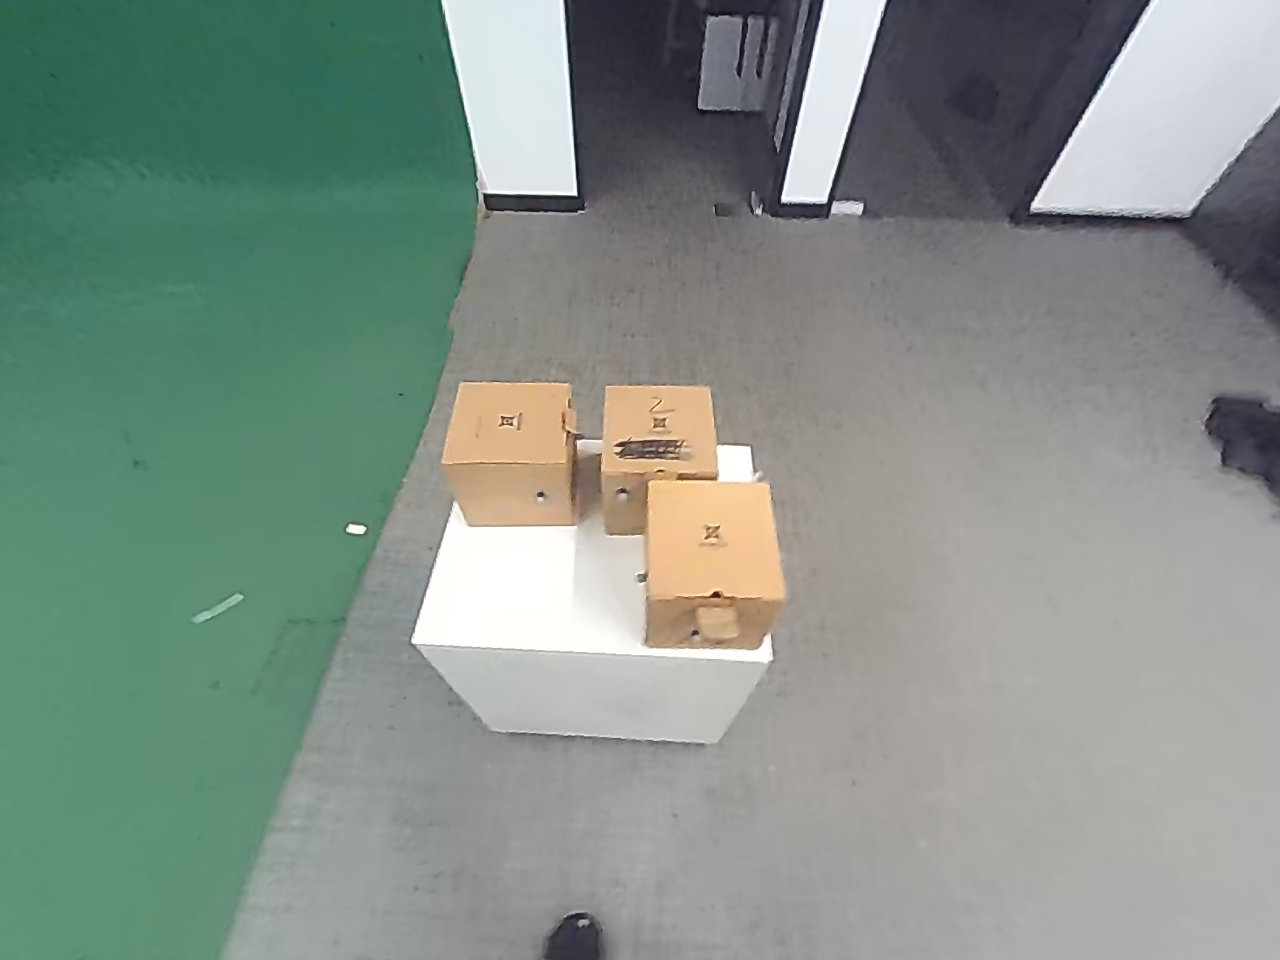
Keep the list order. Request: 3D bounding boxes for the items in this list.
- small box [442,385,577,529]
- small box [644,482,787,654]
[{"bbox_3d":[-0.193,-0.032,0.859,0.179,0.176,0.168,0,52,-3],"label":"small box"},{"bbox_3d":[0.091,0.124,0.750,0.168,0.176,0.179,2,53,-1],"label":"small box"}]
